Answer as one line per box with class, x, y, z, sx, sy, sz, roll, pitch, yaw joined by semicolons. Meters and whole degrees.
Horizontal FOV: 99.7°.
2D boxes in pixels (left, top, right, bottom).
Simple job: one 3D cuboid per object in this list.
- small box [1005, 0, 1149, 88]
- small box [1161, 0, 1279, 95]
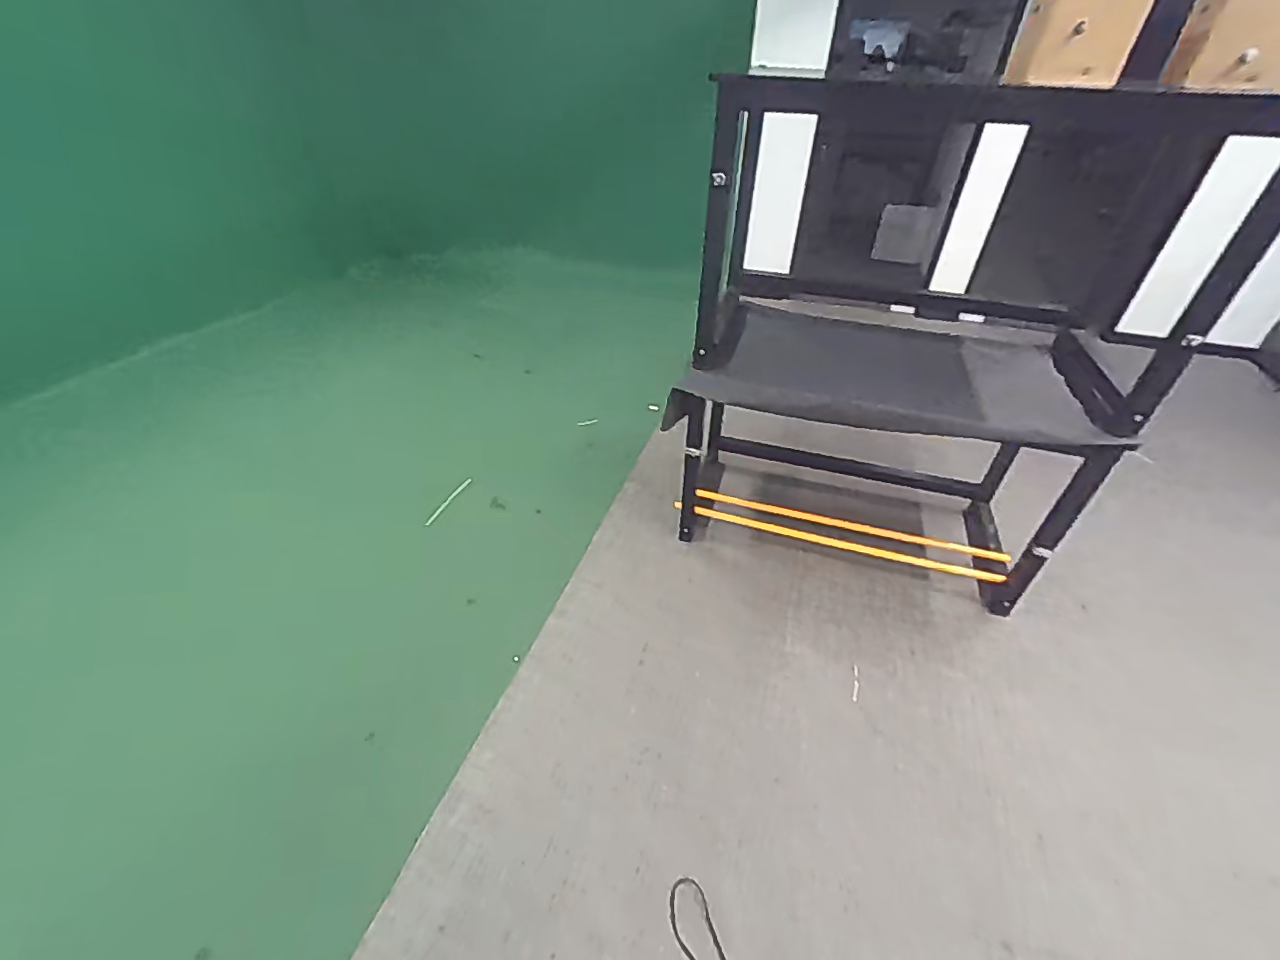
small box;0.899;-0.919;1.120;0.168;0.176;0.179;9;38;9
small box;1.181;-0.866;1.056;0.168;0.176;0.179;15;41;18
